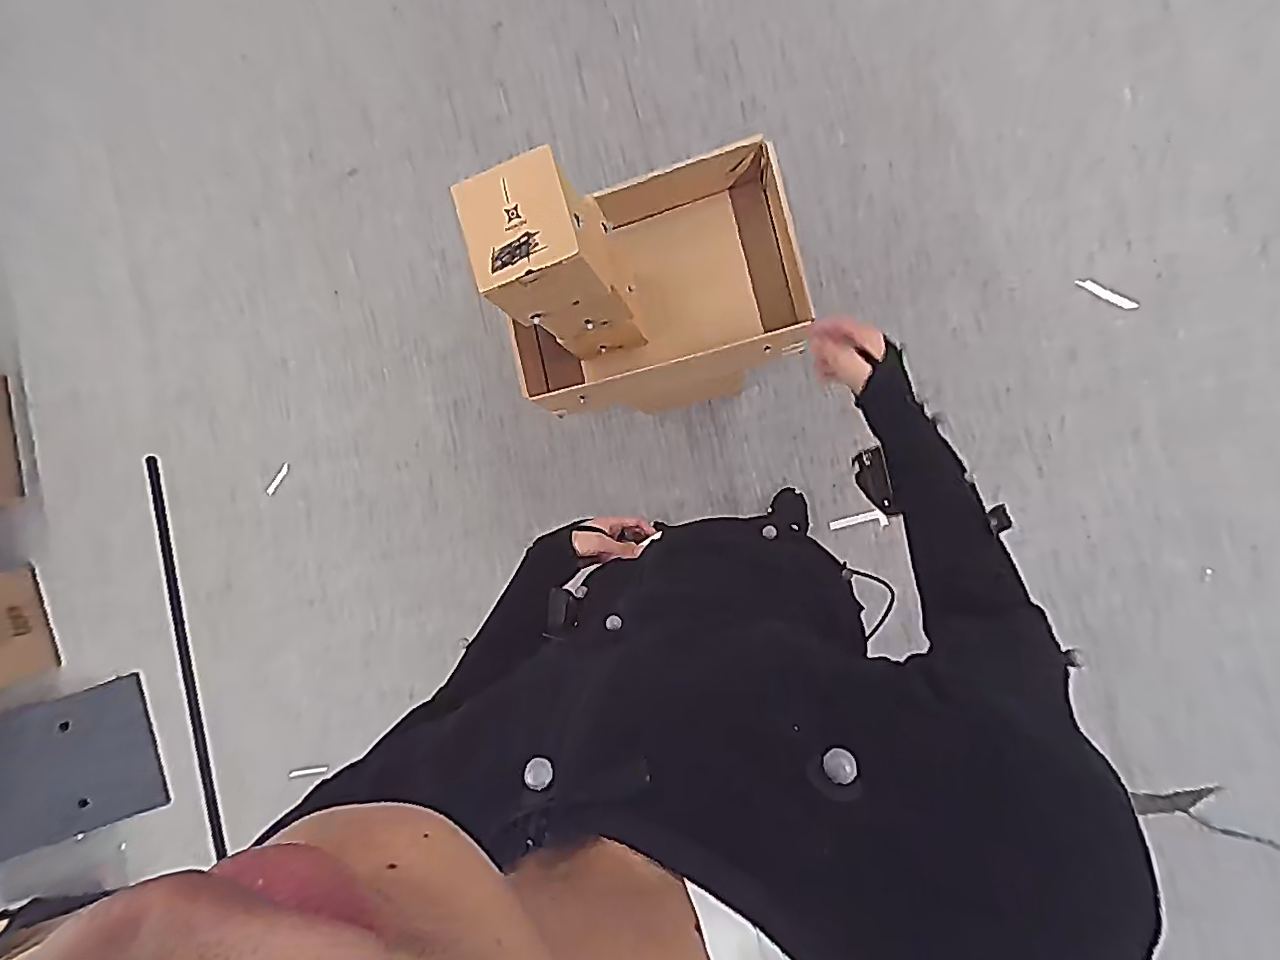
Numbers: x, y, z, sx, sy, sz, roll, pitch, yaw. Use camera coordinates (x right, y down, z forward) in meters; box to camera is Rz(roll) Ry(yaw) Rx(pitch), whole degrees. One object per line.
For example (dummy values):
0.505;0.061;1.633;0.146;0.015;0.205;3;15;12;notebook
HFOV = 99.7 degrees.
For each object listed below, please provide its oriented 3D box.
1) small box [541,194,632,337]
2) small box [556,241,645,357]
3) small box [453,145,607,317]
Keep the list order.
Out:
-0.125;-0.396;1.026;0.168;0.176;0.179;-15;87;11;small box
-0.096;-0.390;1.188;0.168;0.176;0.179;-14;87;11;small box
-0.165;-0.379;0.867;0.168;0.176;0.179;-17;86;11;small box
